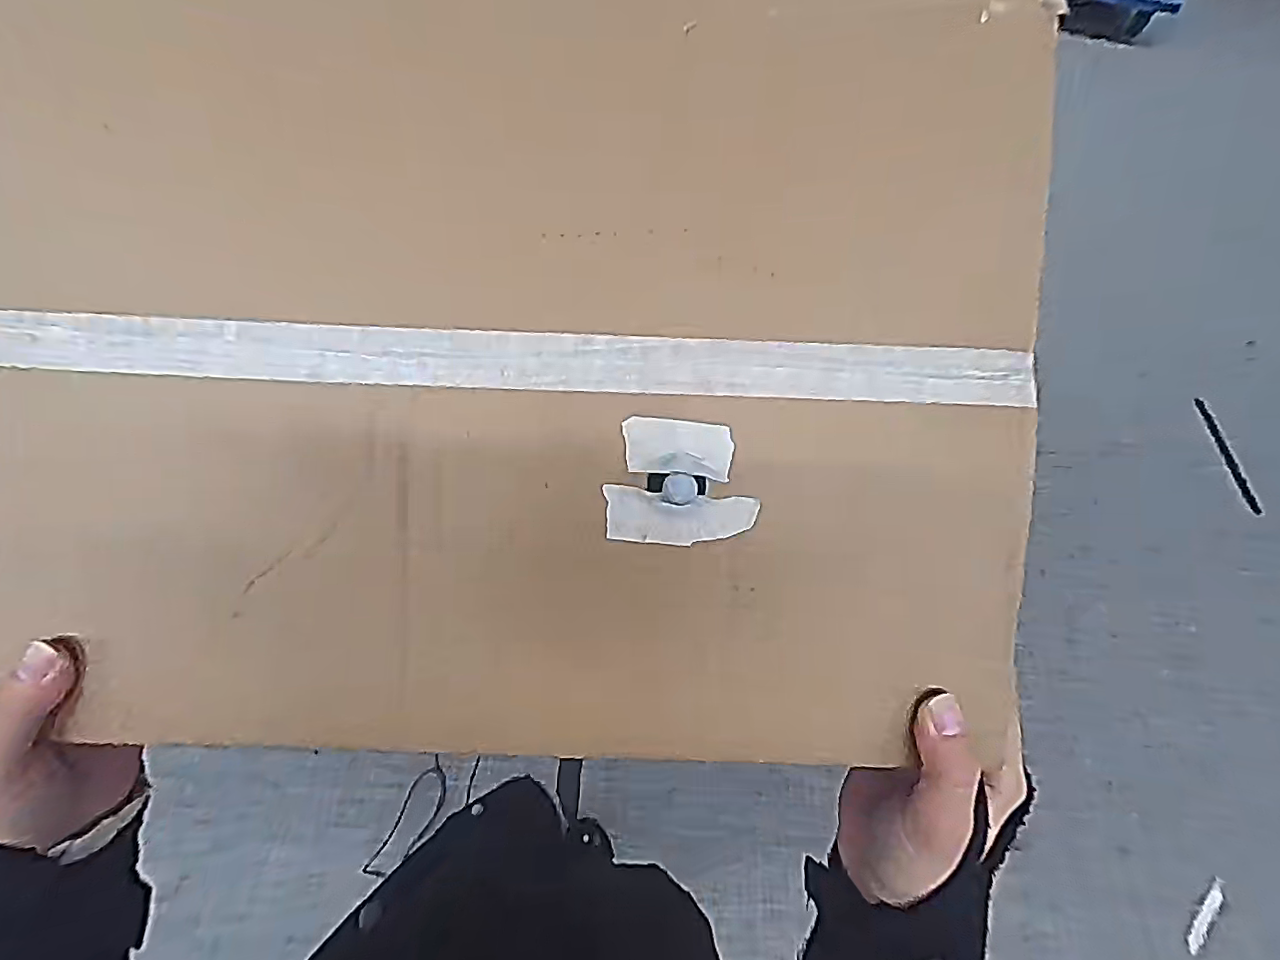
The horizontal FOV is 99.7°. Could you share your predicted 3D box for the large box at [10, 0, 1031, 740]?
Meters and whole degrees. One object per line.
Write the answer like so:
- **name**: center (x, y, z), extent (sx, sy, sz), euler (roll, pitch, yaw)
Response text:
- **large box**: center (-0.050, -0.052, 0.366), extent (0.408, 0.320, 0.320), euler (2, 94, -2)
